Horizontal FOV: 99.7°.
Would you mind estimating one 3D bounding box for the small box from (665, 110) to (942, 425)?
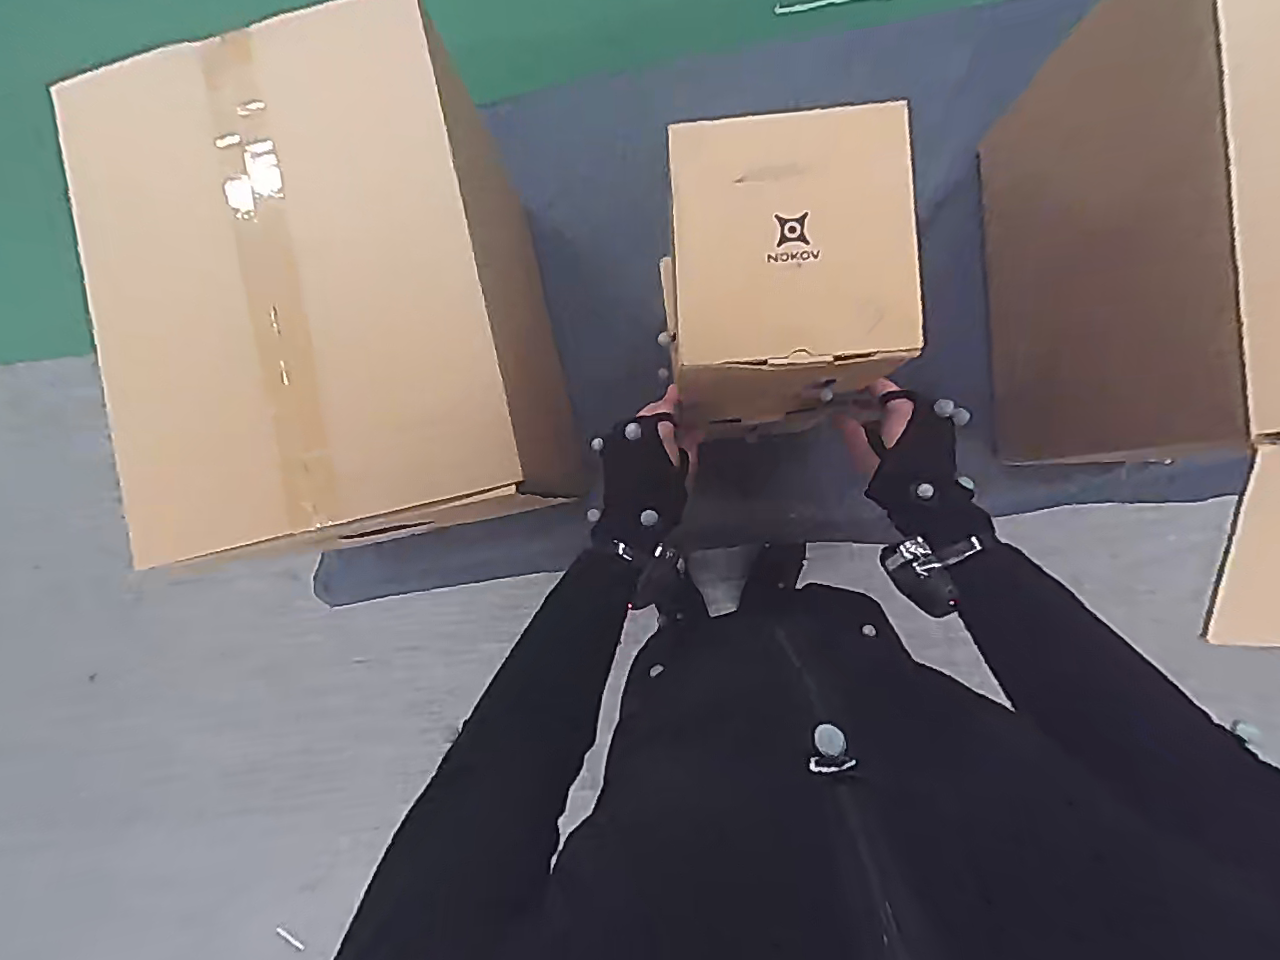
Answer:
[{"bbox_3d":[0.109,-0.140,0.424,0.168,0.176,0.179,-4,87,4],"label":"small box"}]
